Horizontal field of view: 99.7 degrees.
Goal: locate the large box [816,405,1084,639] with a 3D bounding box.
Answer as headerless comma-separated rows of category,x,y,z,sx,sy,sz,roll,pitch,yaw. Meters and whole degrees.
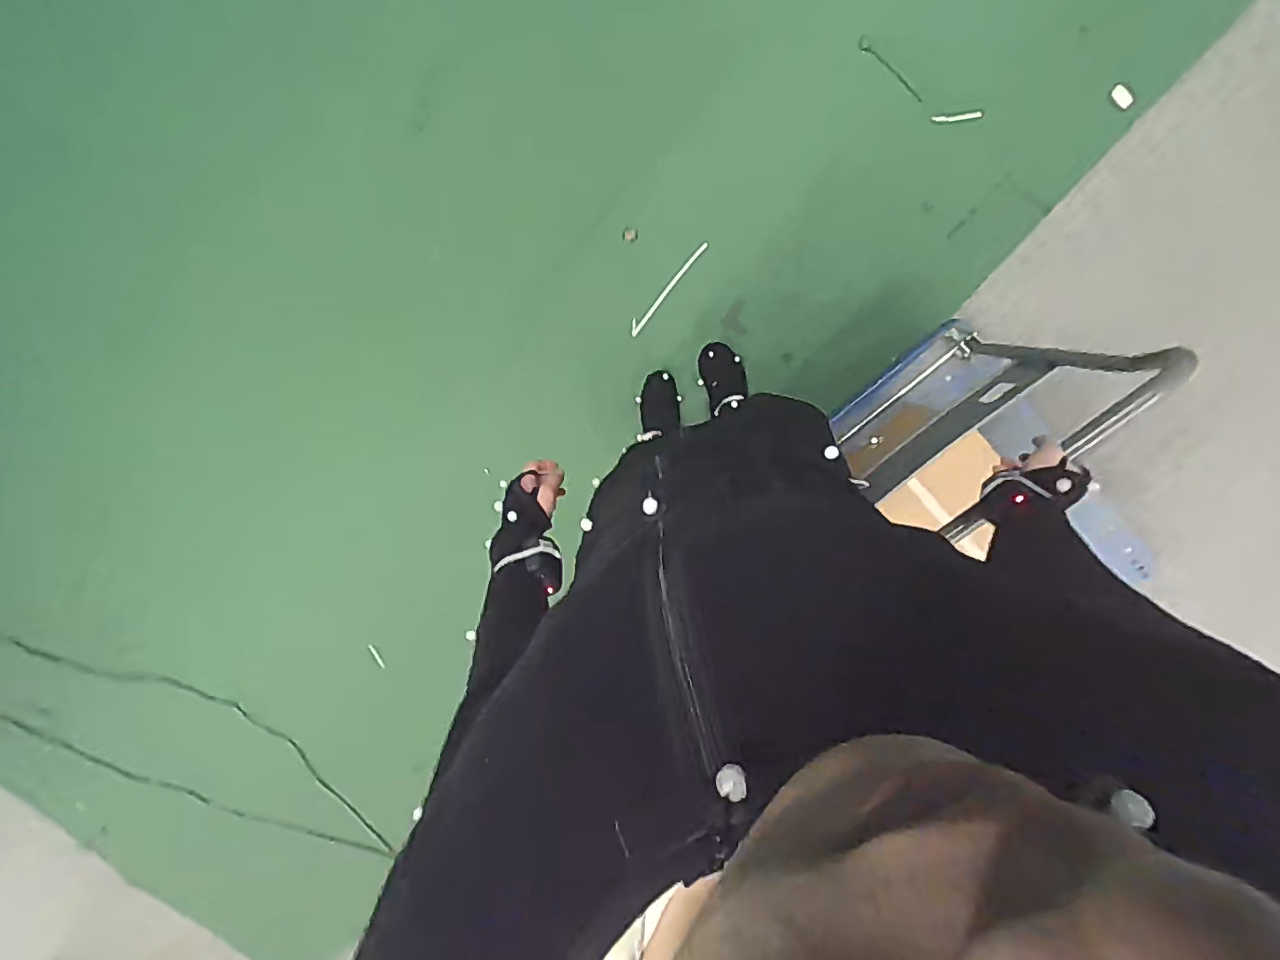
large box,0.694,0.079,1.283,0.320,0.320,0.408,-43,97,14
